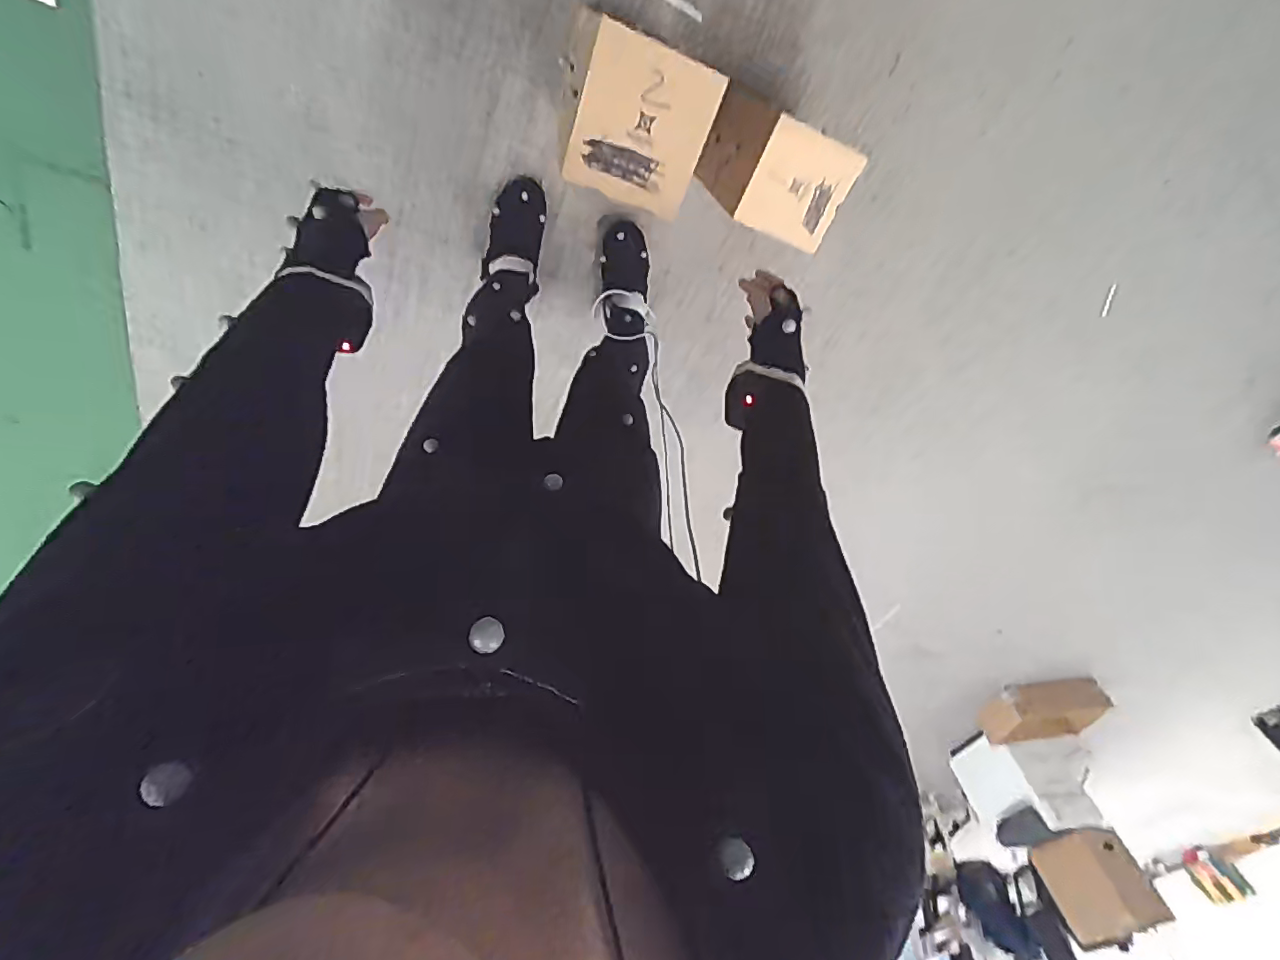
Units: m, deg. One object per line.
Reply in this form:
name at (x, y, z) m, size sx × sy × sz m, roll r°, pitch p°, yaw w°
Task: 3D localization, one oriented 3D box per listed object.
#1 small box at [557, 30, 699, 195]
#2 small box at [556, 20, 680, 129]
small box at (-0.030, -0.597, 0.878) m, size 0.179 × 0.176 × 0.168 m, roll 13°, pitch 126°, yaw -19°
small box at (-0.049, -0.711, 0.994) m, size 0.179 × 0.176 × 0.168 m, roll 12°, pitch 127°, yaw -19°
